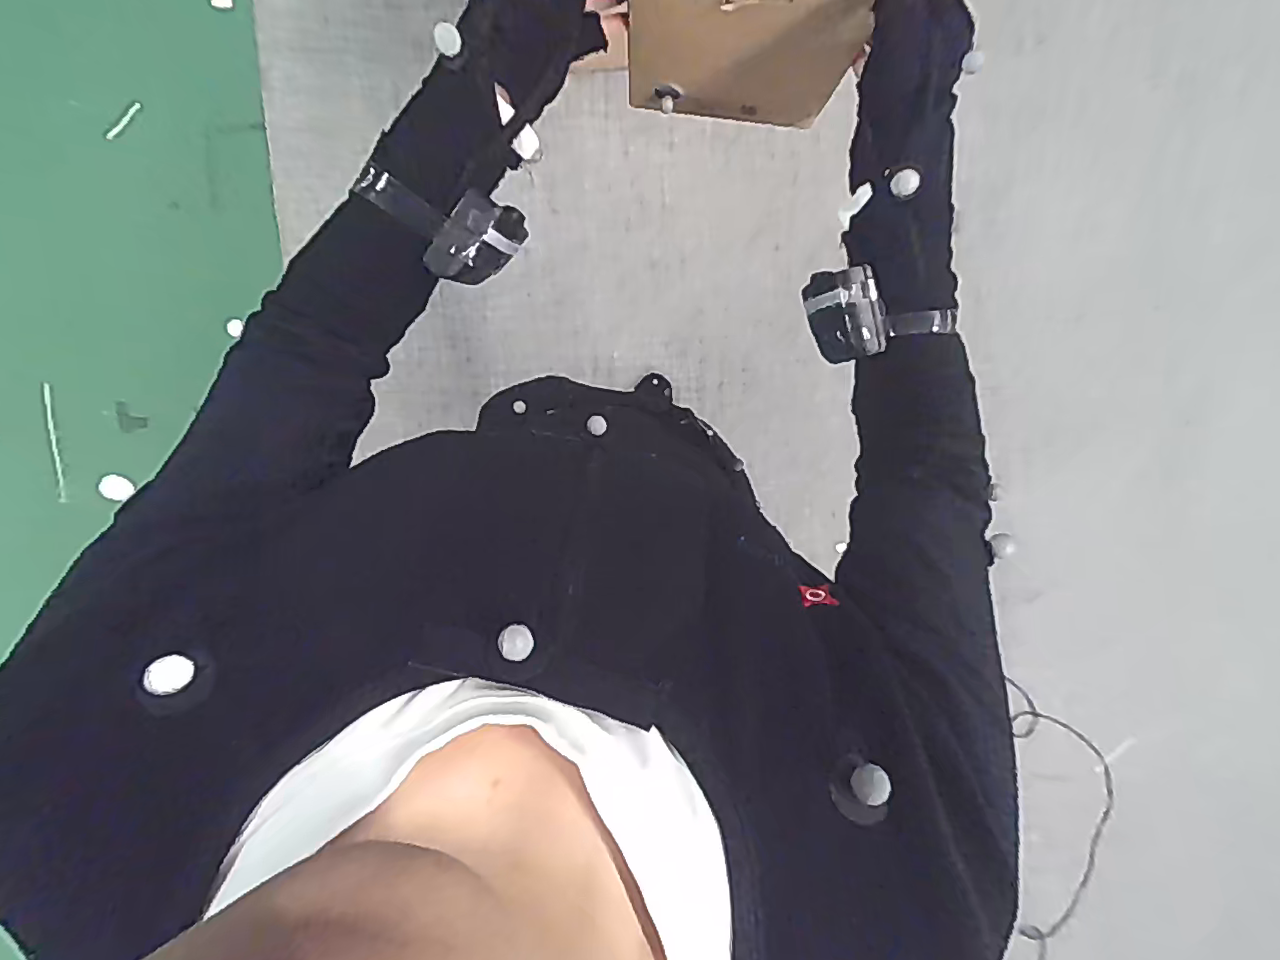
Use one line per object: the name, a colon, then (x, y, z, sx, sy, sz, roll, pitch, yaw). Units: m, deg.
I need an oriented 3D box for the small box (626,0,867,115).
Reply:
small box: (0.081, -0.404, 0.392, 0.168, 0.176, 0.179, 7, 97, -1)
